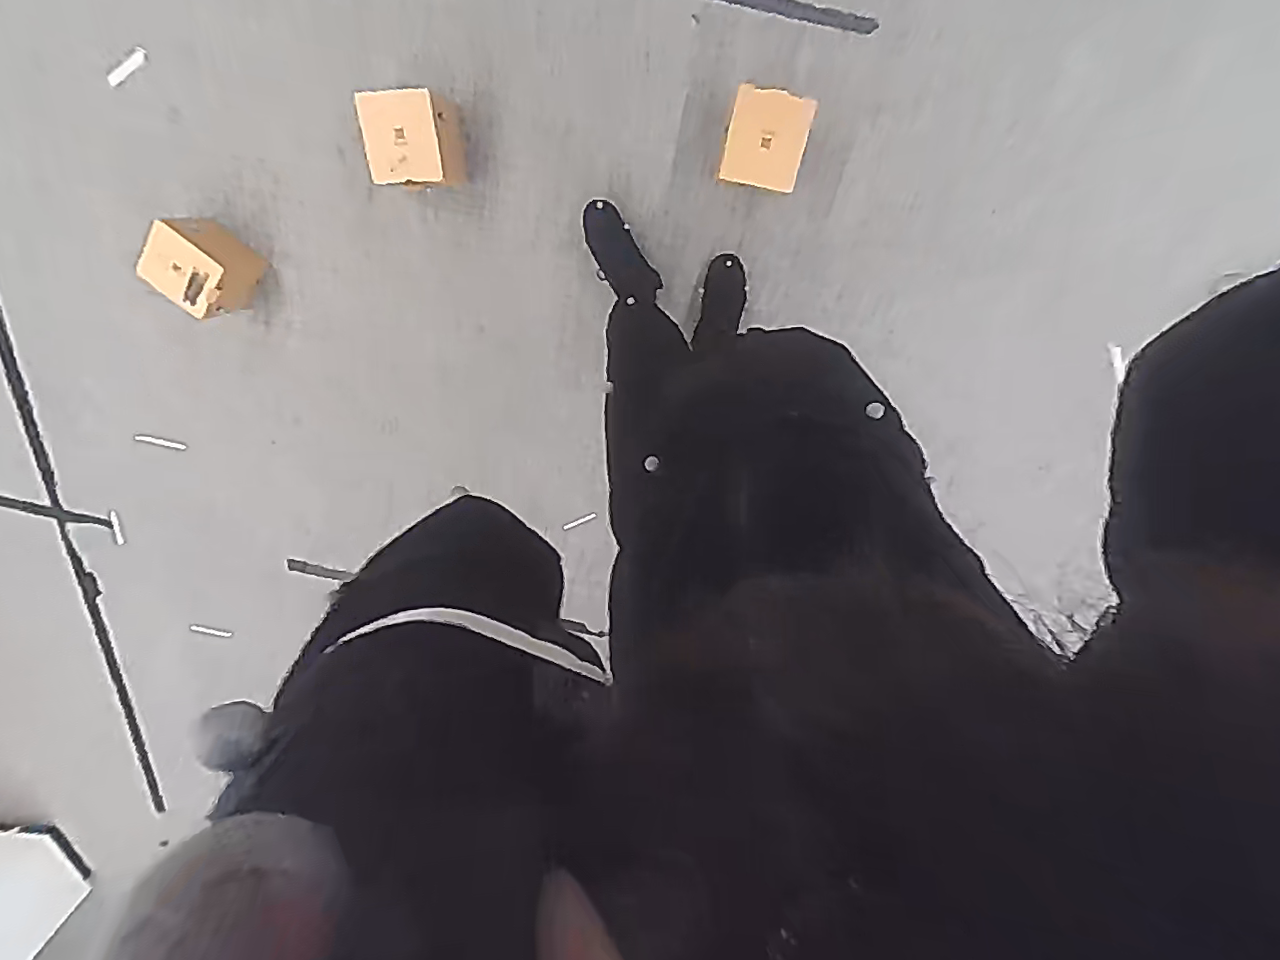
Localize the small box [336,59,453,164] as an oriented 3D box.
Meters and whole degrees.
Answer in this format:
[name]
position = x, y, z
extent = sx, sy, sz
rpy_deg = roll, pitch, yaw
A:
[small box]
position = -0.537, -0.815, 1.210
extent = 0.168, 0.176, 0.179
rpy_deg = 0, 119, 3
